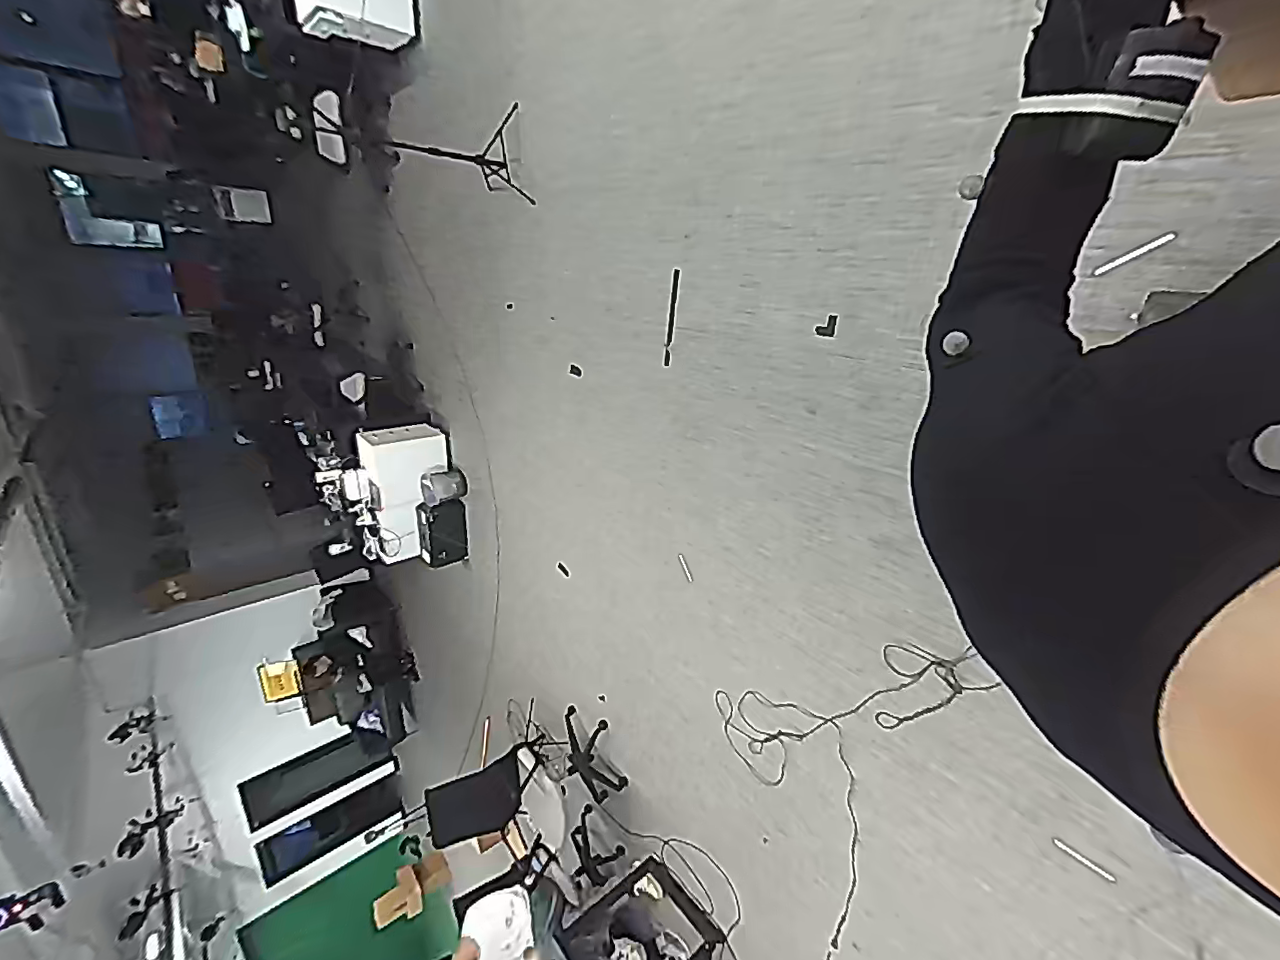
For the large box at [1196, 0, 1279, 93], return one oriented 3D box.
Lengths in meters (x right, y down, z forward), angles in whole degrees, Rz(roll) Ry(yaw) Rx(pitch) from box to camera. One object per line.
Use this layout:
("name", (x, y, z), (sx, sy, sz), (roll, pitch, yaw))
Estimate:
("large box", (0.552, -0.409, 0.213), (0.408, 0.320, 0.320), (22, 121, 44))
